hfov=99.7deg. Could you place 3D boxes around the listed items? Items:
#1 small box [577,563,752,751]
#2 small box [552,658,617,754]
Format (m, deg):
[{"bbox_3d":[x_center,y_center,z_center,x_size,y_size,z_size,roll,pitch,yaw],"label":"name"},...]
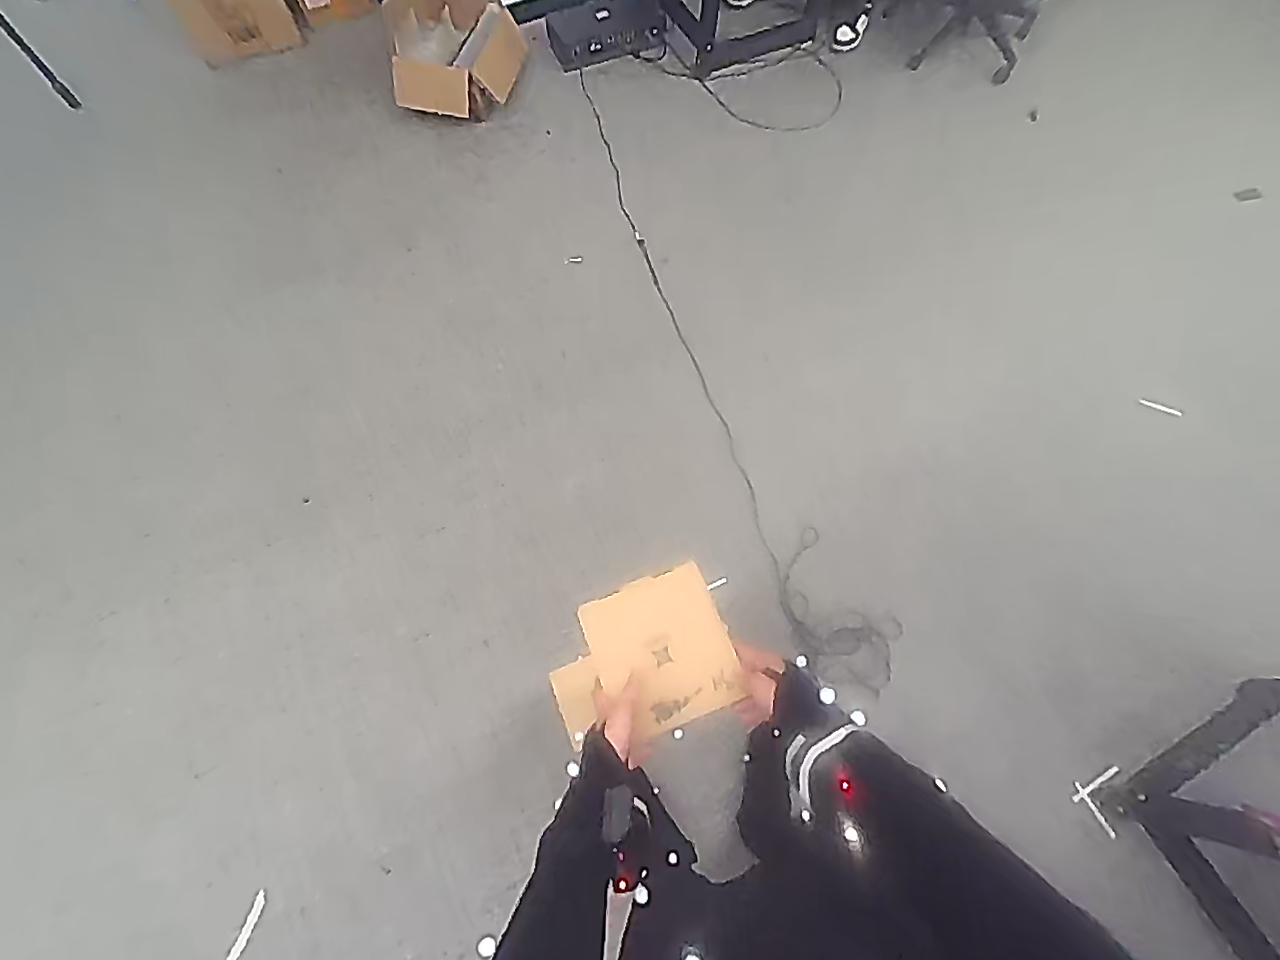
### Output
[{"bbox_3d":[0.032,0.235,0.723,0.168,0.176,0.179,-22,70,-2],"label":"small box"},{"bbox_3d":[-0.073,0.469,1.180,0.179,0.176,0.168,-22,71,-6],"label":"small box"}]
